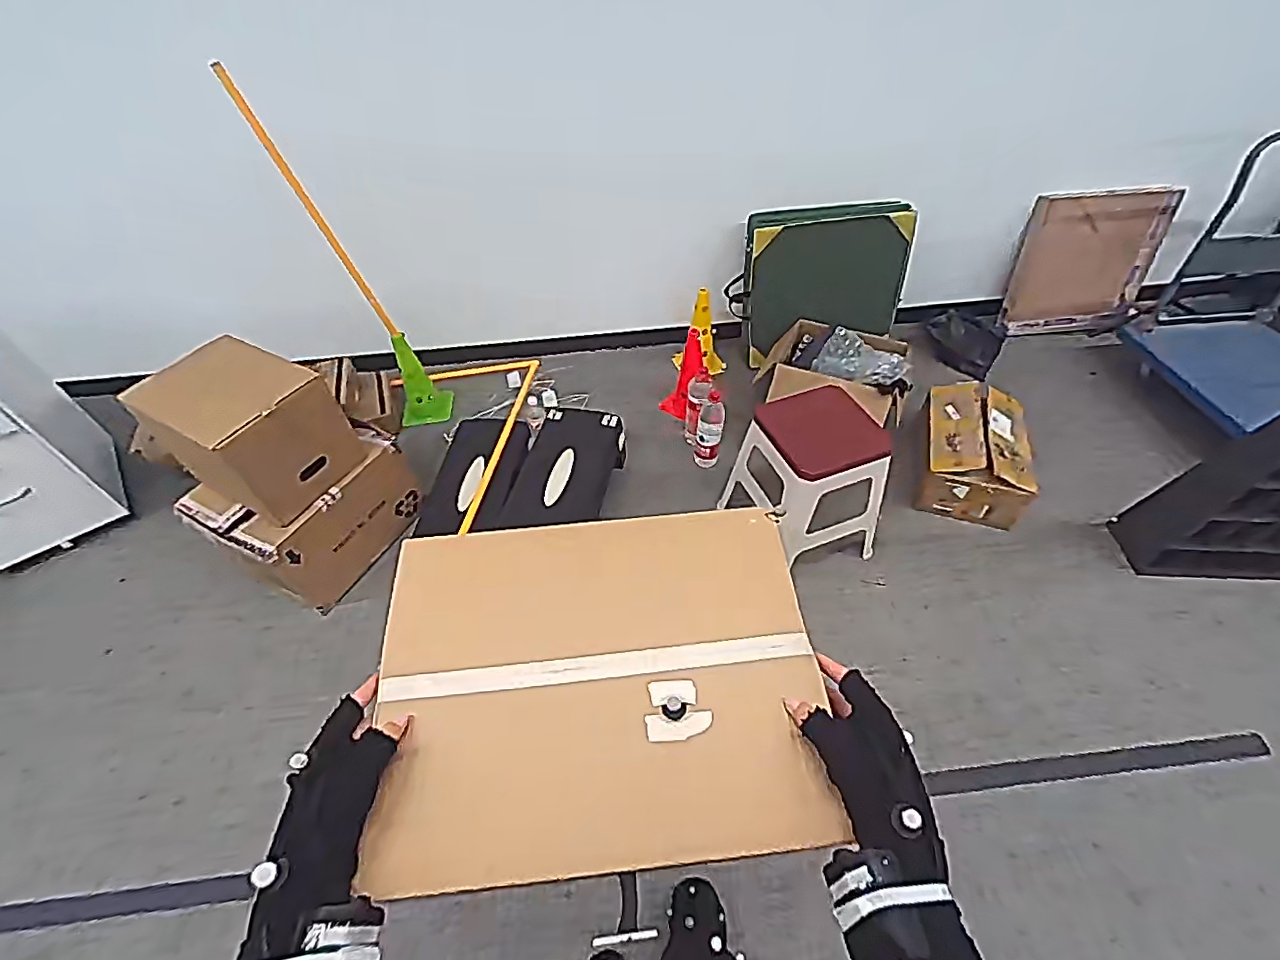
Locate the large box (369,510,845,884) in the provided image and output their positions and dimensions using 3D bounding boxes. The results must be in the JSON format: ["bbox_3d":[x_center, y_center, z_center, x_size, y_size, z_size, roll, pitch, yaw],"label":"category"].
[{"bbox_3d":[-0.037,0.262,0.647,0.408,0.320,0.320,-5,56,-2],"label":"large box"}]
